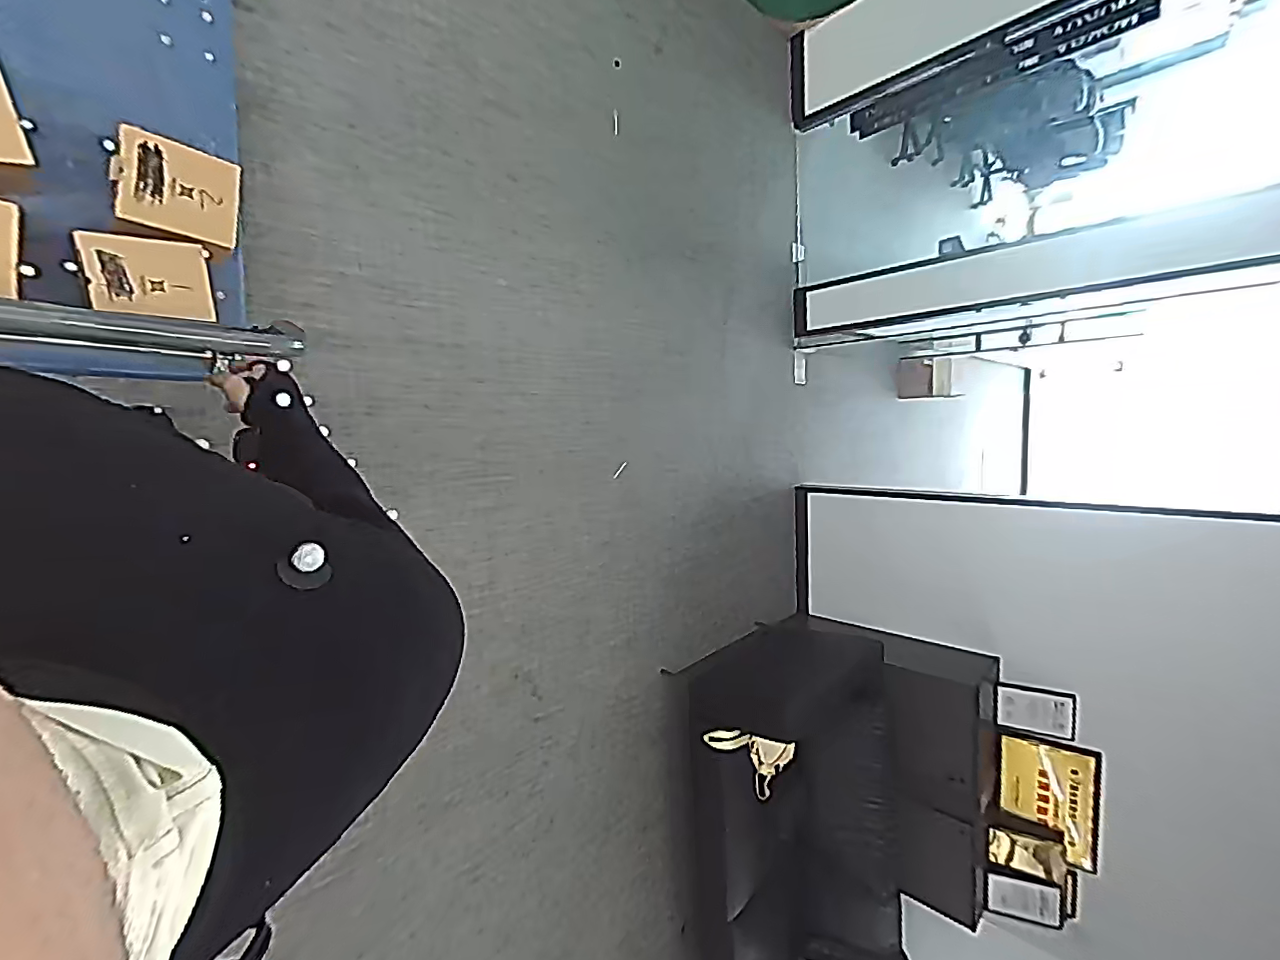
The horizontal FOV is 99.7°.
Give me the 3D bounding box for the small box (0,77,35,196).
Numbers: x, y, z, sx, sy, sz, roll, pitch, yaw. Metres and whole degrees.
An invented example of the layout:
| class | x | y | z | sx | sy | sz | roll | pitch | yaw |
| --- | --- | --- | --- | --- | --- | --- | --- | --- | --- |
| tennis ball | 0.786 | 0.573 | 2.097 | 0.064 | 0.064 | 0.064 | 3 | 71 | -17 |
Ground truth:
| class | x | y | z | sx | sy | sz | roll | pitch | yaw |
| --- | --- | --- | --- | --- | --- | --- | --- | --- | --- |
| small box | -1.109 | -0.570 | 0.856 | 0.168 | 0.176 | 0.179 | -22 | 108 | -44 |
